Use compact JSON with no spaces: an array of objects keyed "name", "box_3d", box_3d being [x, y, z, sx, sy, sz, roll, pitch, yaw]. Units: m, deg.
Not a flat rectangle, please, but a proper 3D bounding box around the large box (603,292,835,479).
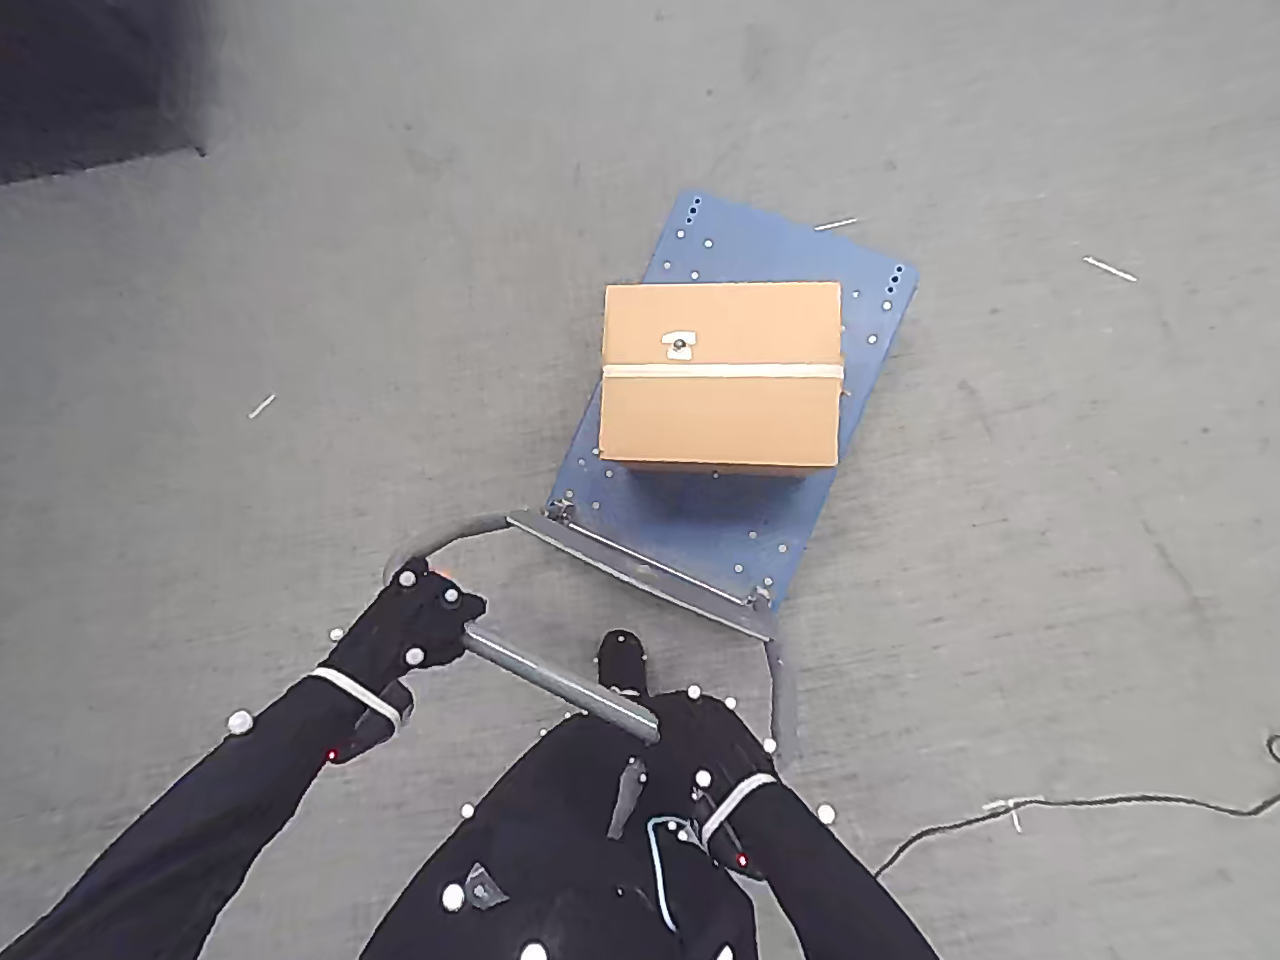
[{"name":"large box","box_3d":[0.158,-0.164,1.091,0.408,0.320,0.320,2,86,9]}]
